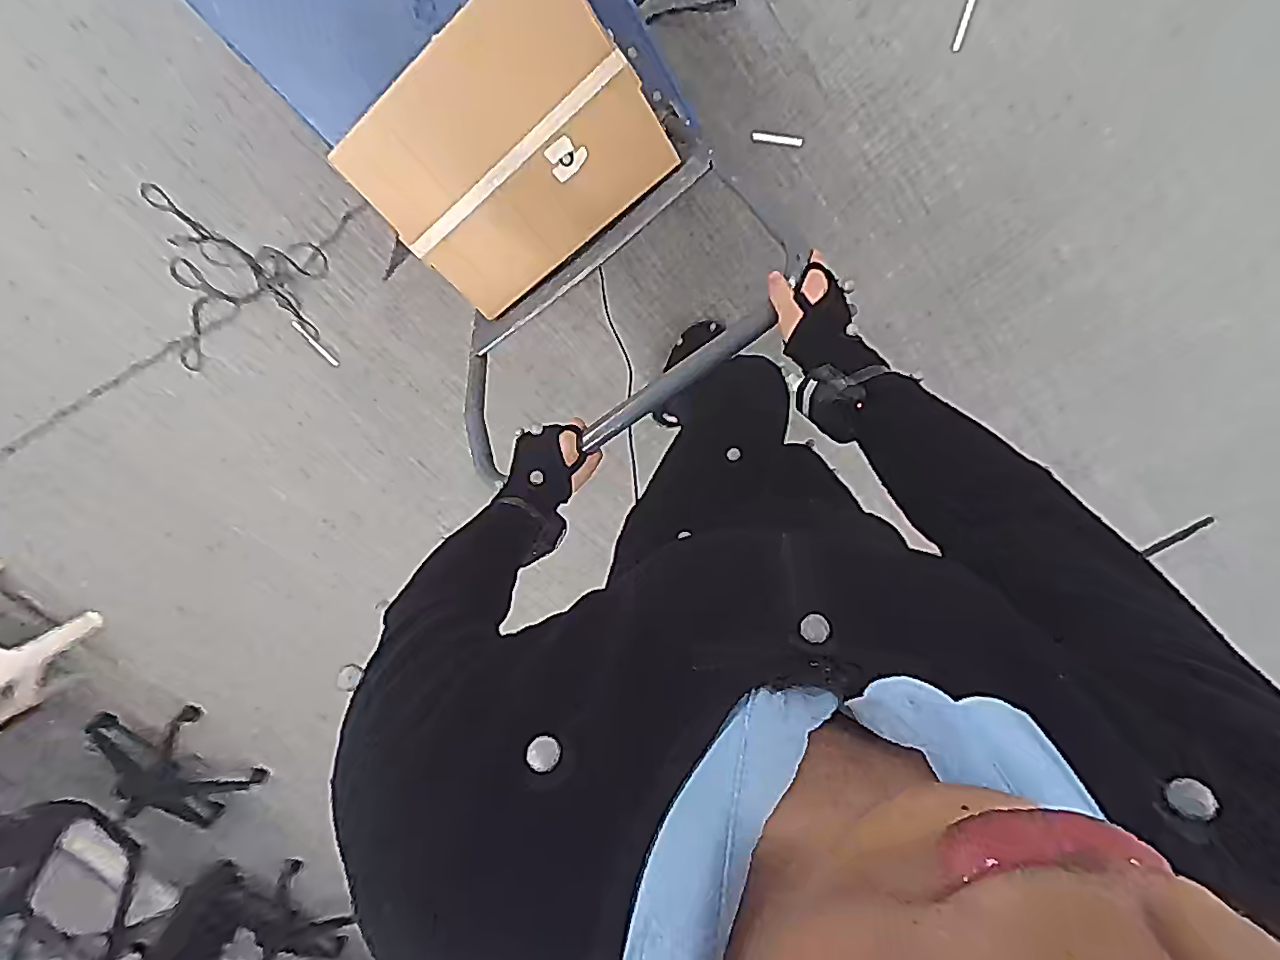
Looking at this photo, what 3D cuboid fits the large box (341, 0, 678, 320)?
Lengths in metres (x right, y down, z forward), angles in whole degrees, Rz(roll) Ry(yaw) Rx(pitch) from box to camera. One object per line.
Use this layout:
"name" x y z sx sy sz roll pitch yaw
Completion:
"large box" -0.206 -0.559 0.909 0.408 0.320 0.320 -34 128 16
